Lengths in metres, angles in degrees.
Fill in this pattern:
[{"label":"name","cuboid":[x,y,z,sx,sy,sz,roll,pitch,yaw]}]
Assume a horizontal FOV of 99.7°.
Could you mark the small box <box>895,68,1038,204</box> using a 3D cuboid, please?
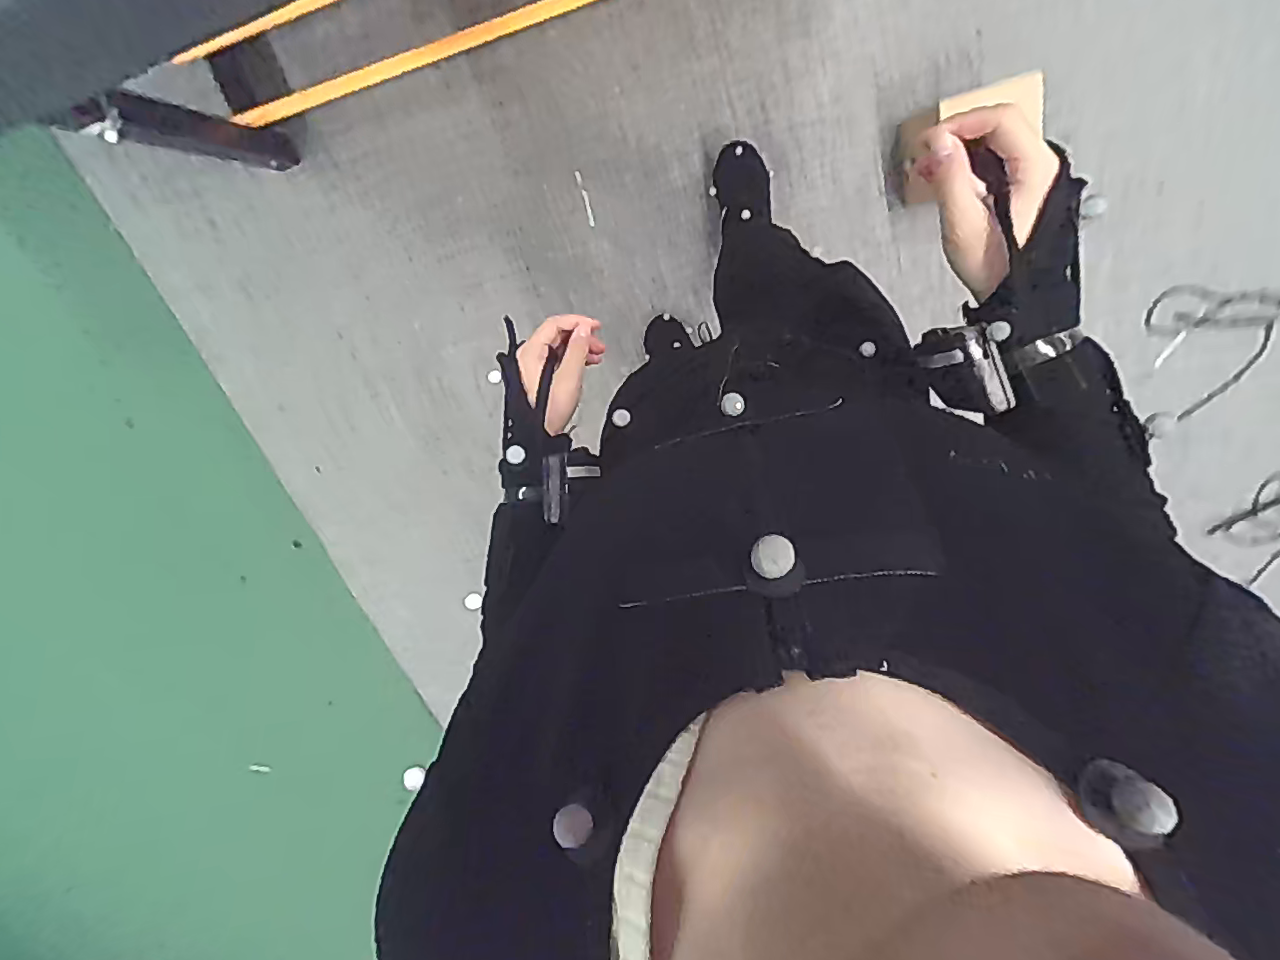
[{"label":"small box","cuboid":[0.616,-0.643,1.033,0.179,0.176,0.168,-15,112,7]}]
